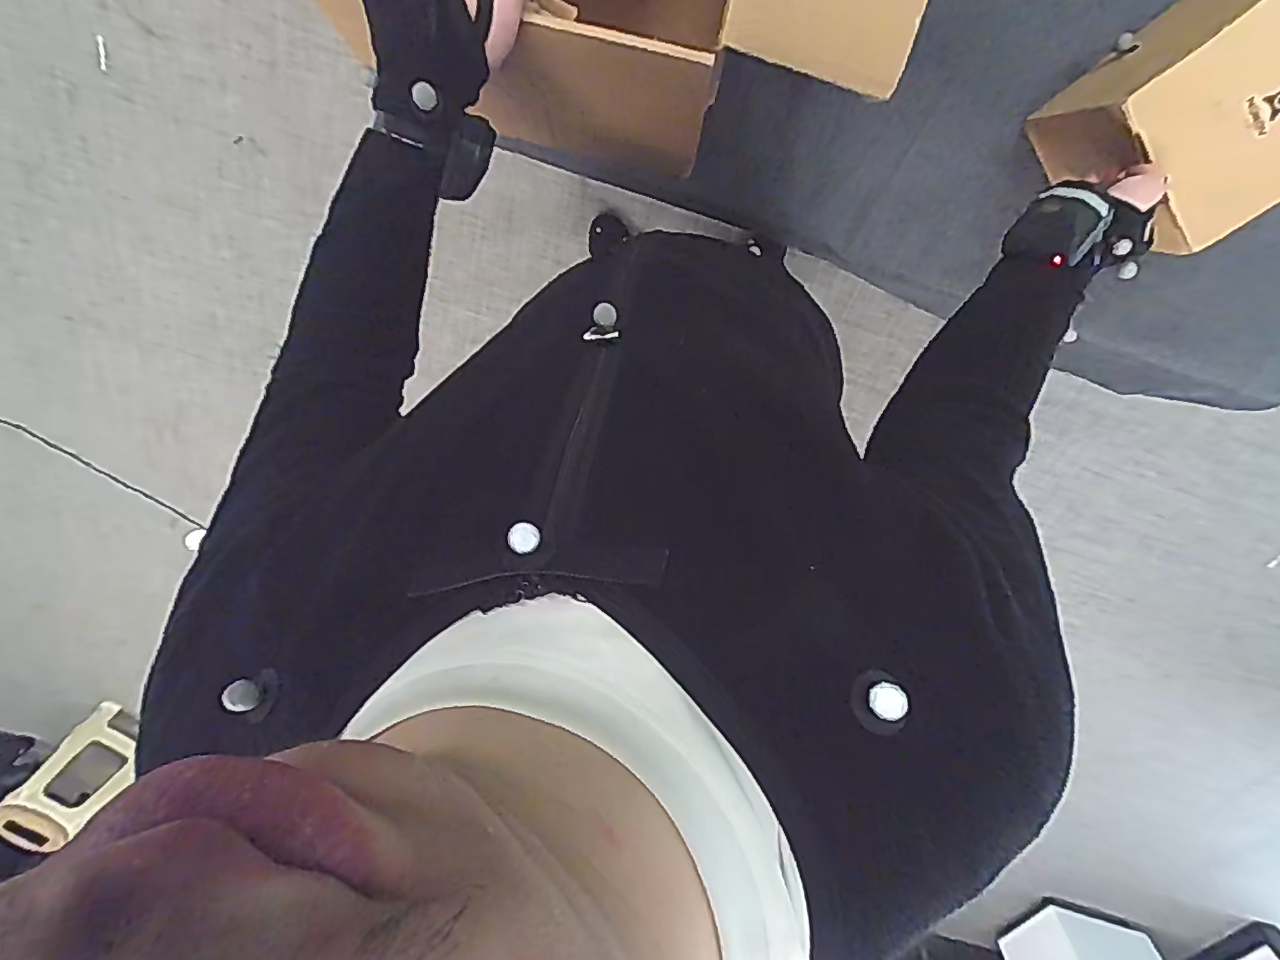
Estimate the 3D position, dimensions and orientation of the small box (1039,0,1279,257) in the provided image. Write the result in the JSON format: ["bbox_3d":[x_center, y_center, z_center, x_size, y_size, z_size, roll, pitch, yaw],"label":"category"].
[{"bbox_3d":[0.547,-0.354,0.542,0.179,0.176,0.168,-35,109,22],"label":"small box"}]
